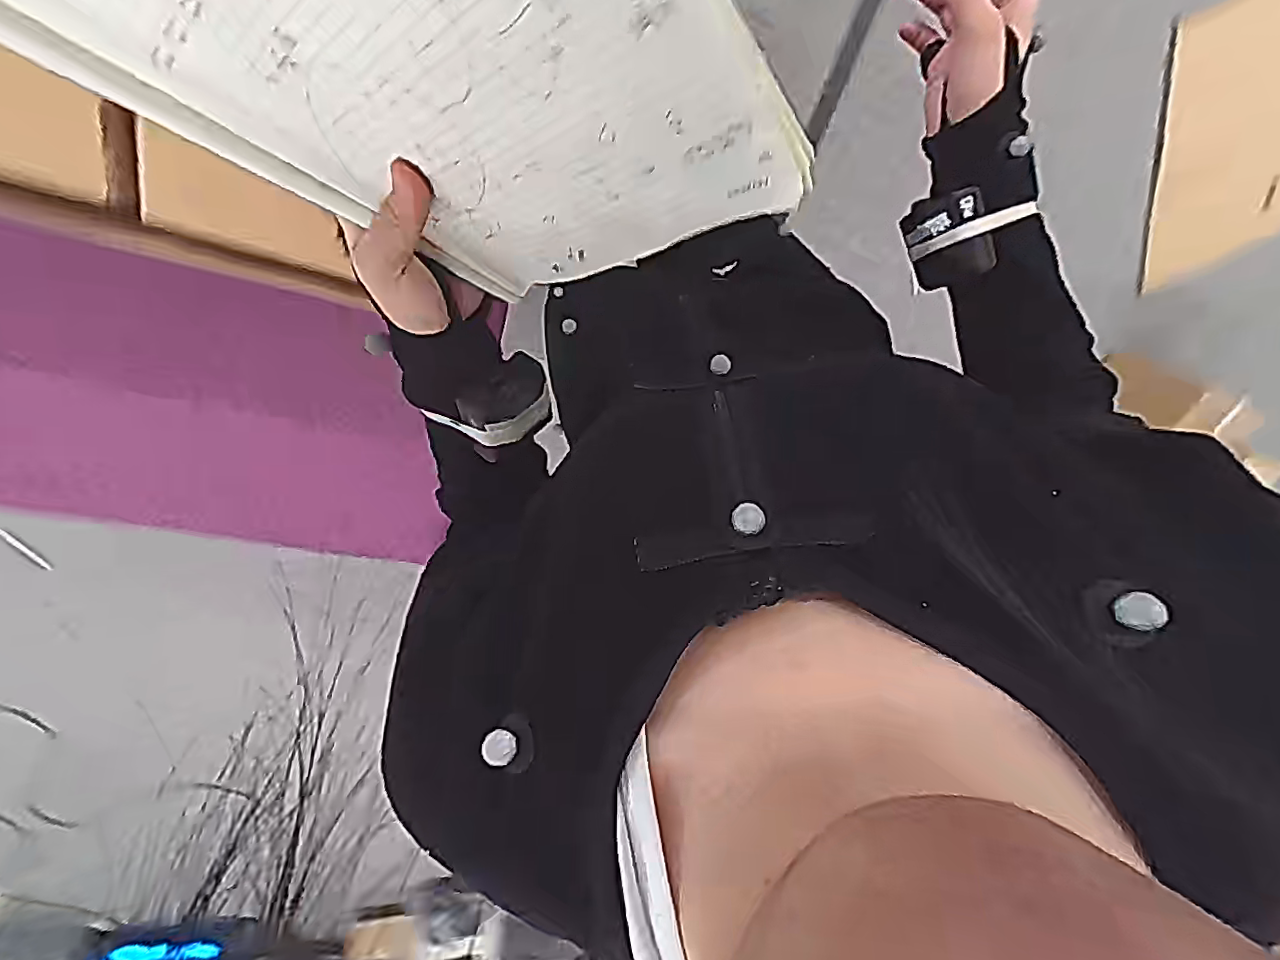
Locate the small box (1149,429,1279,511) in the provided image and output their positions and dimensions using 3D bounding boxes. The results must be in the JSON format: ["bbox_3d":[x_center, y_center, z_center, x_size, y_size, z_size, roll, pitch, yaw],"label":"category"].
[{"bbox_3d":[1.645,-0.034,1.557,0.179,0.176,0.168,8,119,-18],"label":"small box"}]
